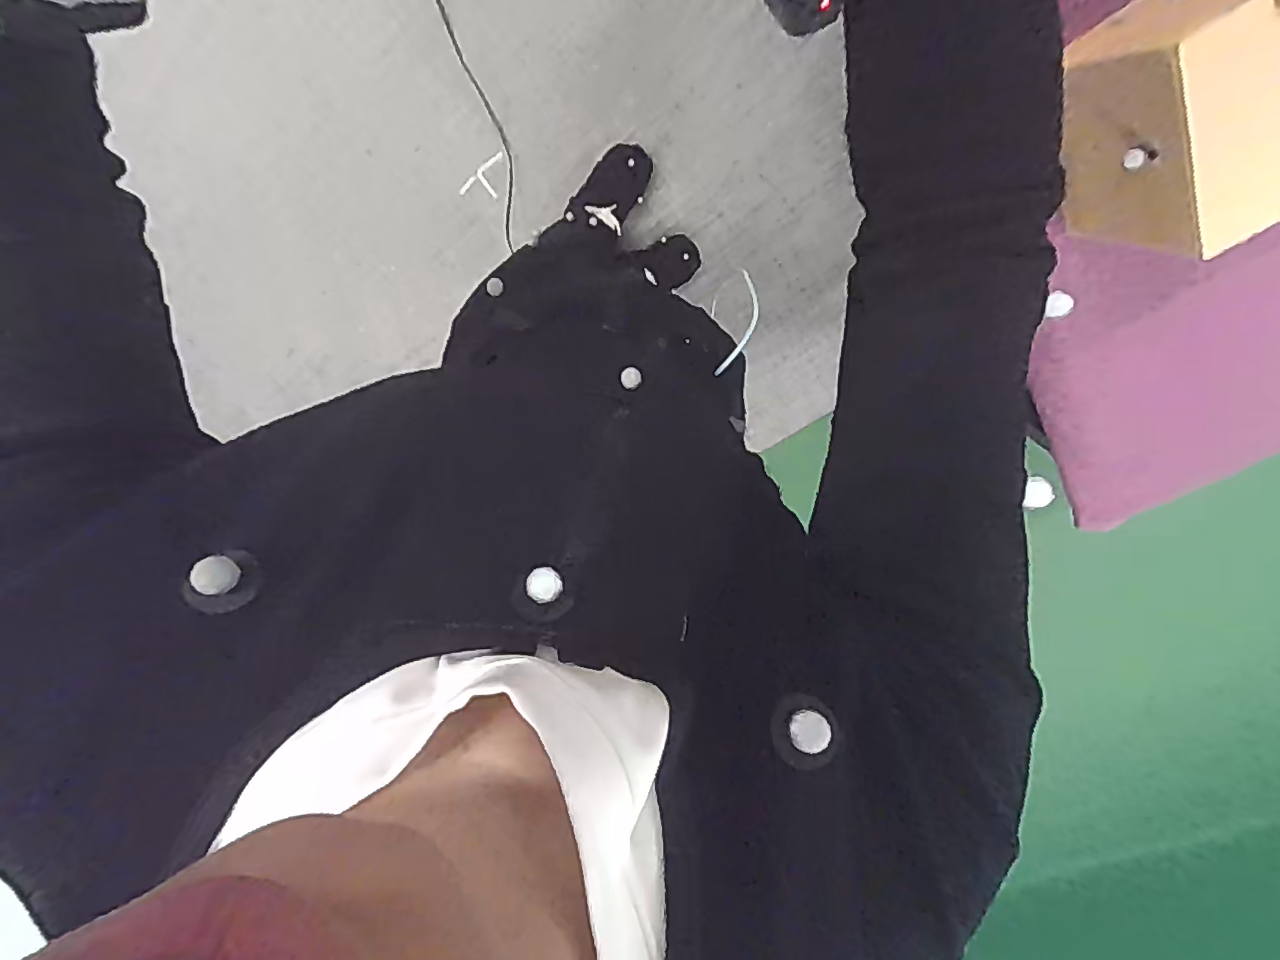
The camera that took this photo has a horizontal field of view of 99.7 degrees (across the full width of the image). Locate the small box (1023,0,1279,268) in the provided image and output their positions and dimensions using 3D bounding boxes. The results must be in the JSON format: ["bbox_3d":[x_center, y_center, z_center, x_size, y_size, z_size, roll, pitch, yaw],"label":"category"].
[{"bbox_3d":[0.489,-0.325,0.482,0.168,0.176,0.179,-29,117,15],"label":"small box"}]
